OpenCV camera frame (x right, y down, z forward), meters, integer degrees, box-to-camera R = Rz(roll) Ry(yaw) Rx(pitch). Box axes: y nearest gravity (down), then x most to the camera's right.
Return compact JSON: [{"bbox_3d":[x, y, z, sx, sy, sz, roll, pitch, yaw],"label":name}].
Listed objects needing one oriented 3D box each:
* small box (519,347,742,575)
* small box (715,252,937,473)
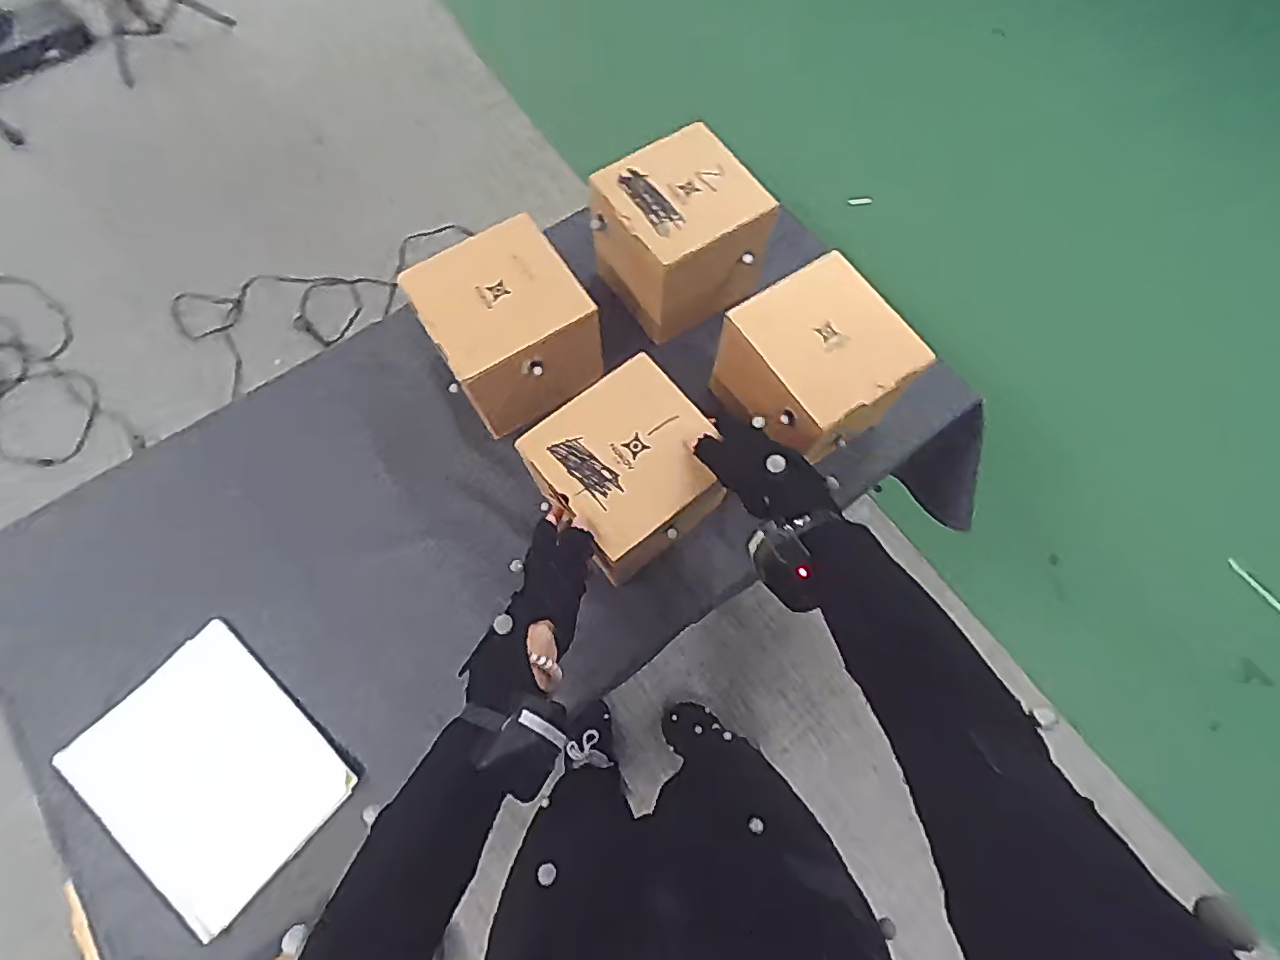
[{"bbox_3d":[-0.011,-0.011,0.628,0.179,0.176,0.168,-37,76,-13],"label":"small box"},{"bbox_3d":[0.213,-0.137,0.677,0.168,0.176,0.179,-31,74,-10],"label":"small box"}]
